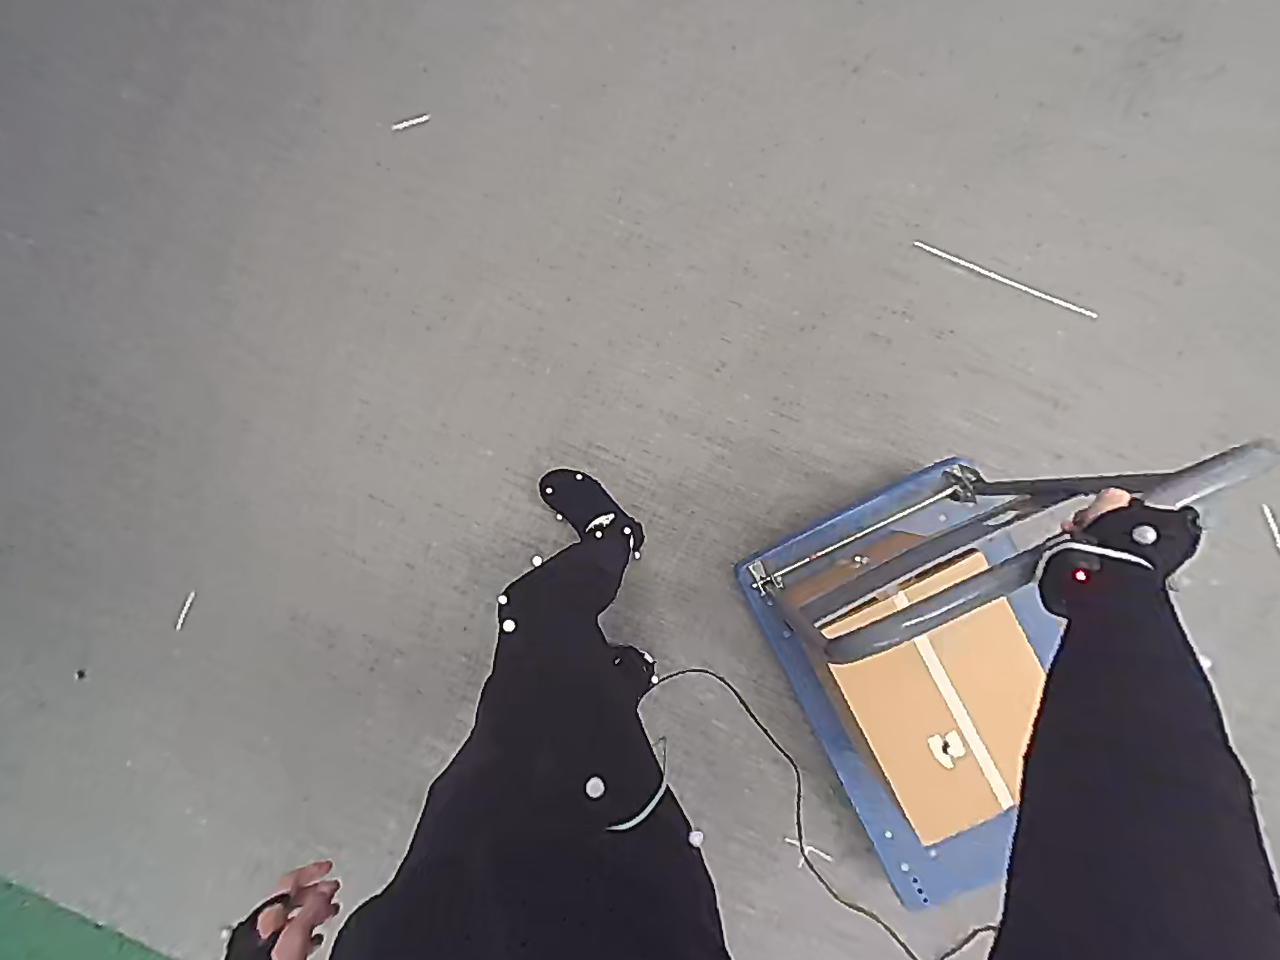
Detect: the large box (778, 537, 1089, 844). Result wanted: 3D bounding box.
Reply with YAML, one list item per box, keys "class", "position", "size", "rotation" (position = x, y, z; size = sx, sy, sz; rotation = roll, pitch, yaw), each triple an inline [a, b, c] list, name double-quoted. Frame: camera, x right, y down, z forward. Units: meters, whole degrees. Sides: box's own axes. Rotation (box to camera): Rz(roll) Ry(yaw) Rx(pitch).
- class: "large box"
  position: [0.524, 0.367, 1.050]
  size: [0.320, 0.320, 0.408]
  rotation: [-27, 90, 2]
